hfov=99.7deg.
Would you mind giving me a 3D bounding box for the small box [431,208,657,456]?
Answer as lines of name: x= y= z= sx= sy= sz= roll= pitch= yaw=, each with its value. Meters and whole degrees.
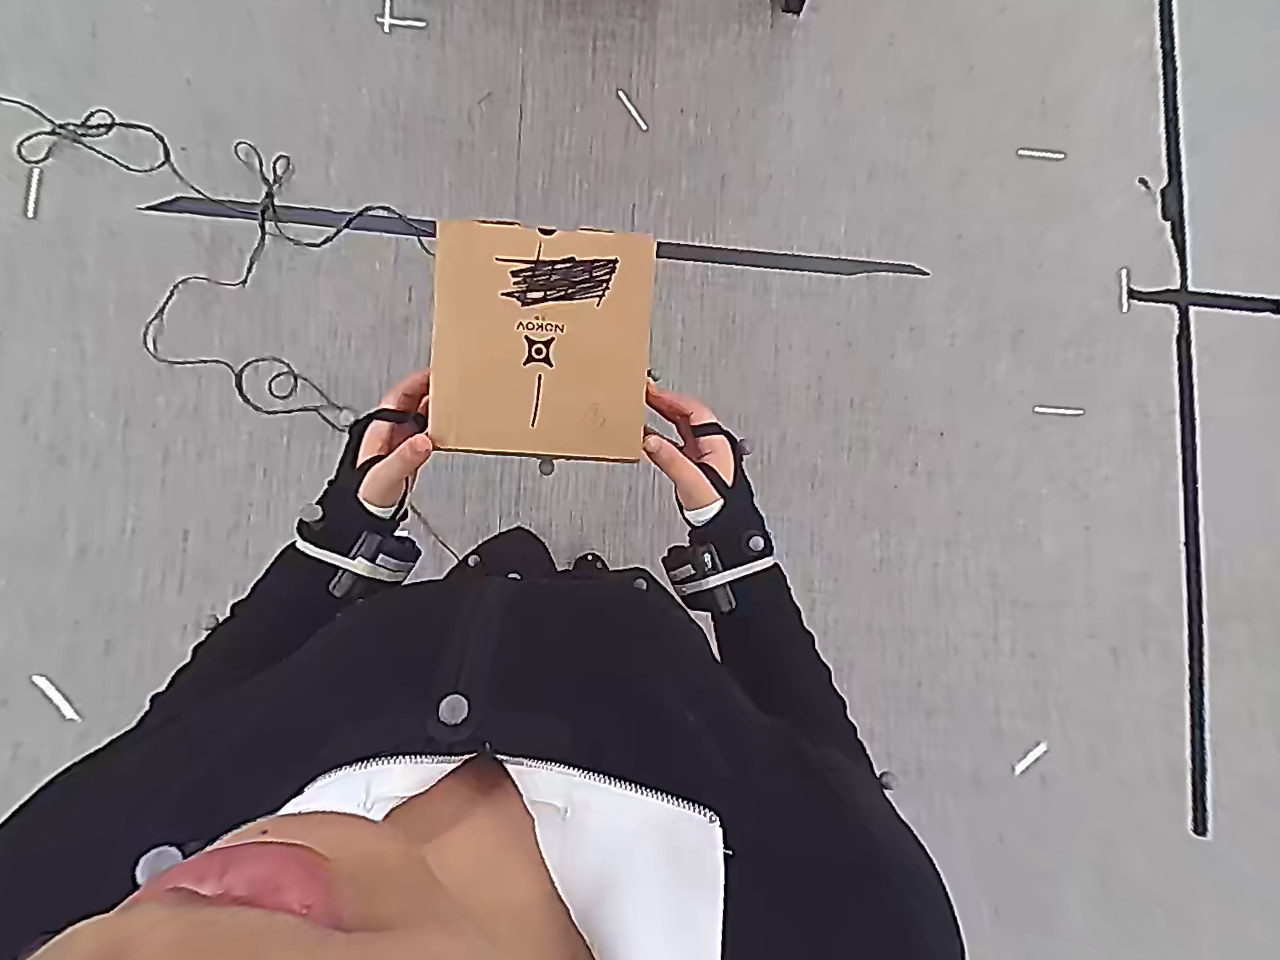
small box: x=-0.077 y=-0.117 z=0.495 sx=0.168 sy=0.176 sz=0.179 roll=3 pitch=91 yaw=-2
